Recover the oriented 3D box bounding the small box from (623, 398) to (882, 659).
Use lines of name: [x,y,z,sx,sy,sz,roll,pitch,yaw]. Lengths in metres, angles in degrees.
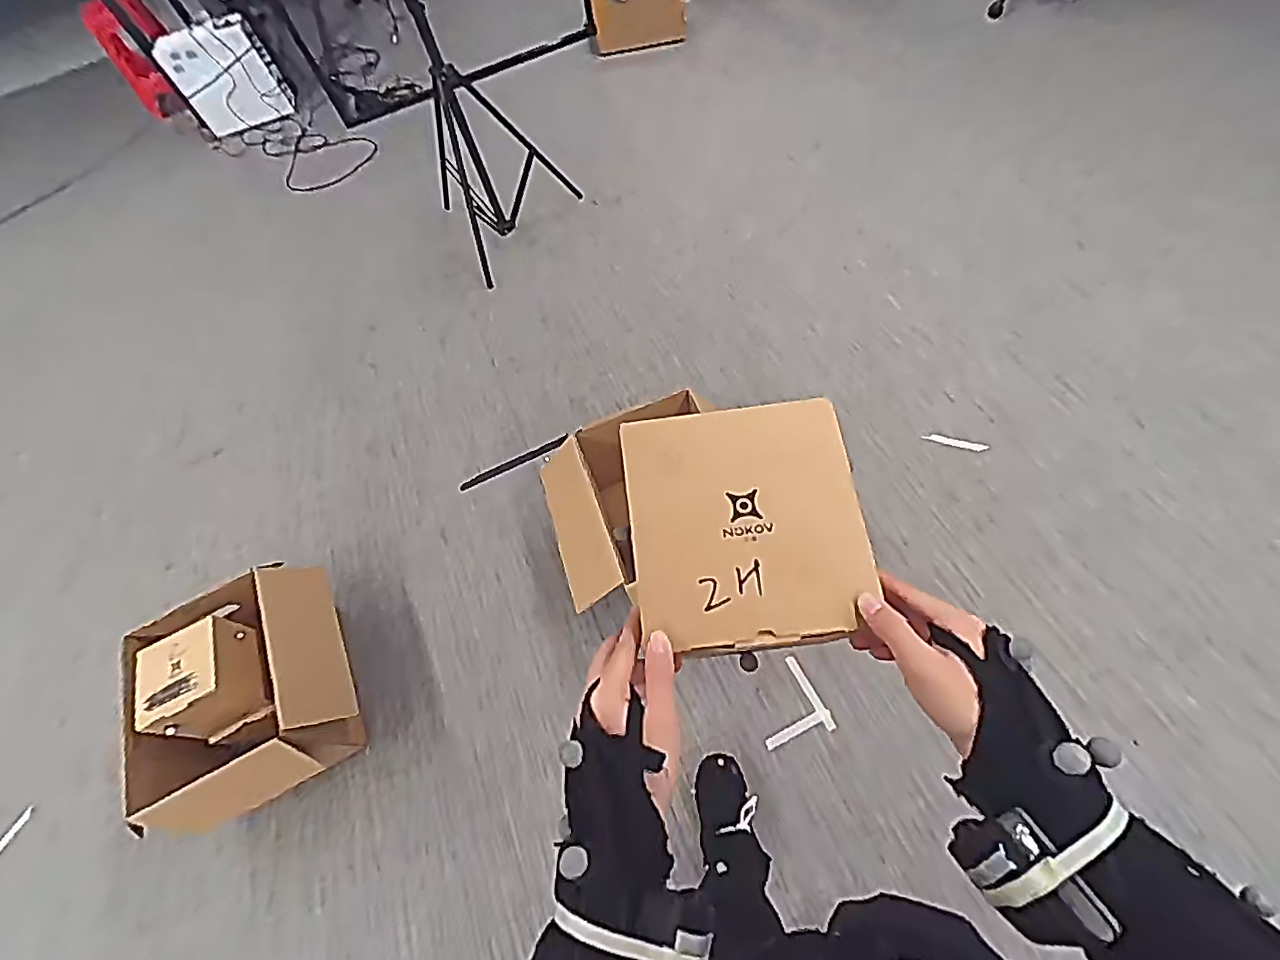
small box: [0.079,0.053,0.469,0.168,0.176,0.179,-8,69,1]
